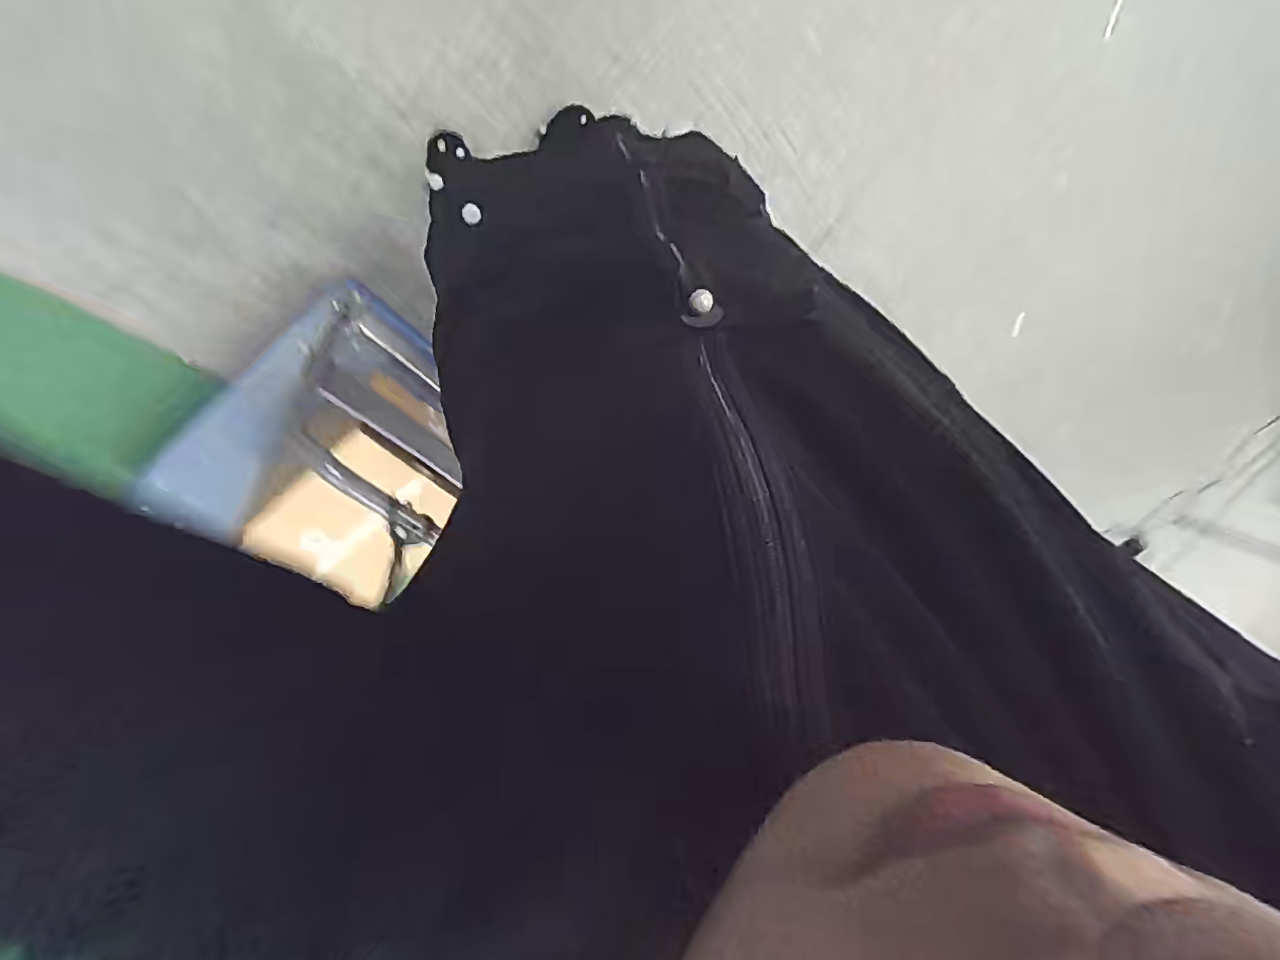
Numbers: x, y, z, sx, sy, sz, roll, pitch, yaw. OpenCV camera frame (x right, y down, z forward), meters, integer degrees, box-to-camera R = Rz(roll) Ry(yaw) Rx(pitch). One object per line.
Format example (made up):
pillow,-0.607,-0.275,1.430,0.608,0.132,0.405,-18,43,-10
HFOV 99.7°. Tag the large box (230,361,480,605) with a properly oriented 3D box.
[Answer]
large box,-0.630,0.007,1.255,0.408,0.320,0.320,-38,128,10
